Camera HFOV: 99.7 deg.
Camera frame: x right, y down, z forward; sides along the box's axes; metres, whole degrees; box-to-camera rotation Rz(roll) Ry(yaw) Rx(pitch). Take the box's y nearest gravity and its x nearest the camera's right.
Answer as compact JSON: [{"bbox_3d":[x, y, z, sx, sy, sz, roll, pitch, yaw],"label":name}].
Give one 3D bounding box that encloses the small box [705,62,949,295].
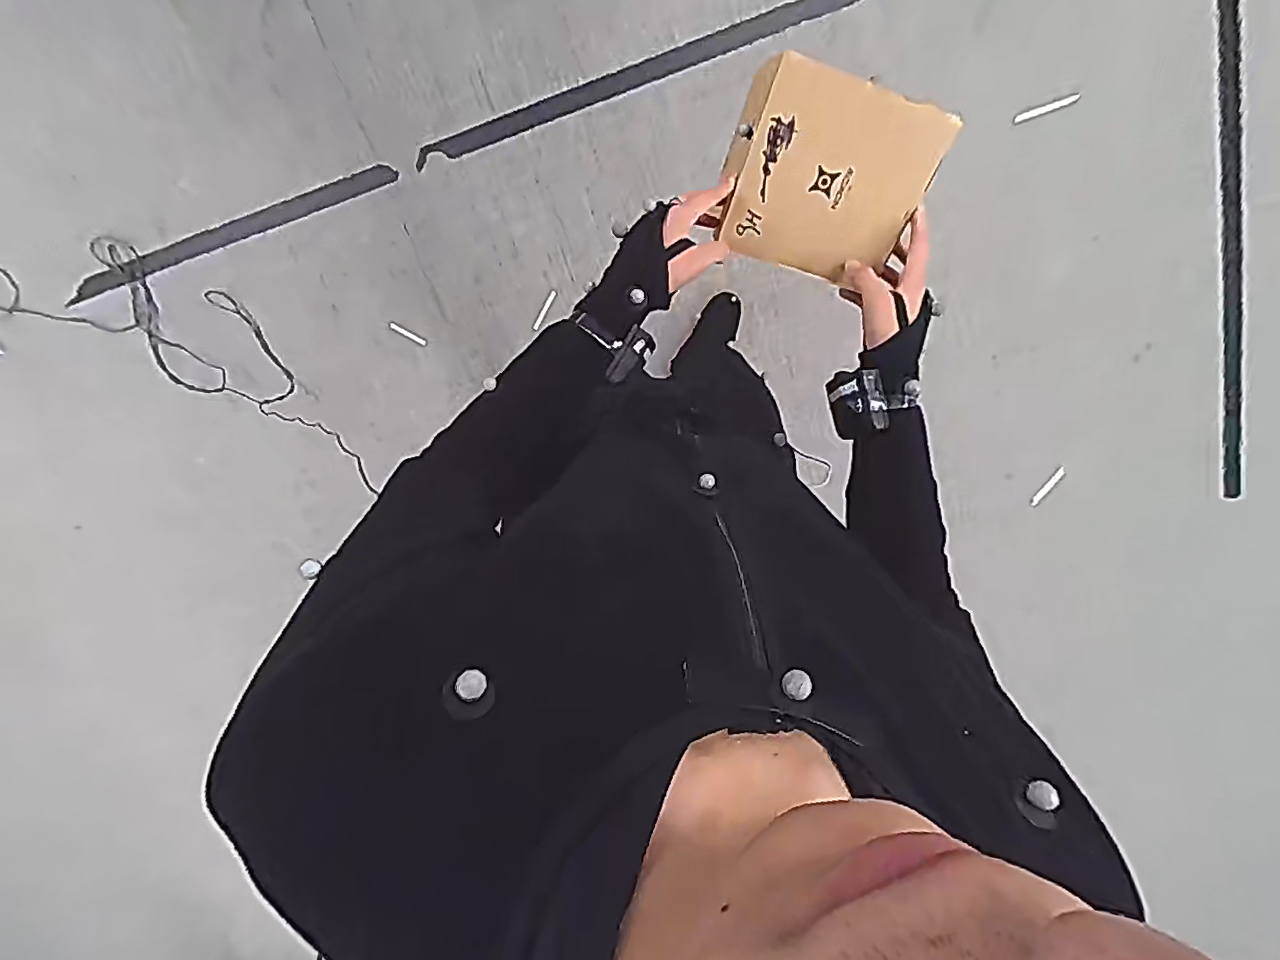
[{"bbox_3d":[0.182,-0.330,0.591,0.179,0.176,0.168,15,126,-8],"label":"small box"}]
